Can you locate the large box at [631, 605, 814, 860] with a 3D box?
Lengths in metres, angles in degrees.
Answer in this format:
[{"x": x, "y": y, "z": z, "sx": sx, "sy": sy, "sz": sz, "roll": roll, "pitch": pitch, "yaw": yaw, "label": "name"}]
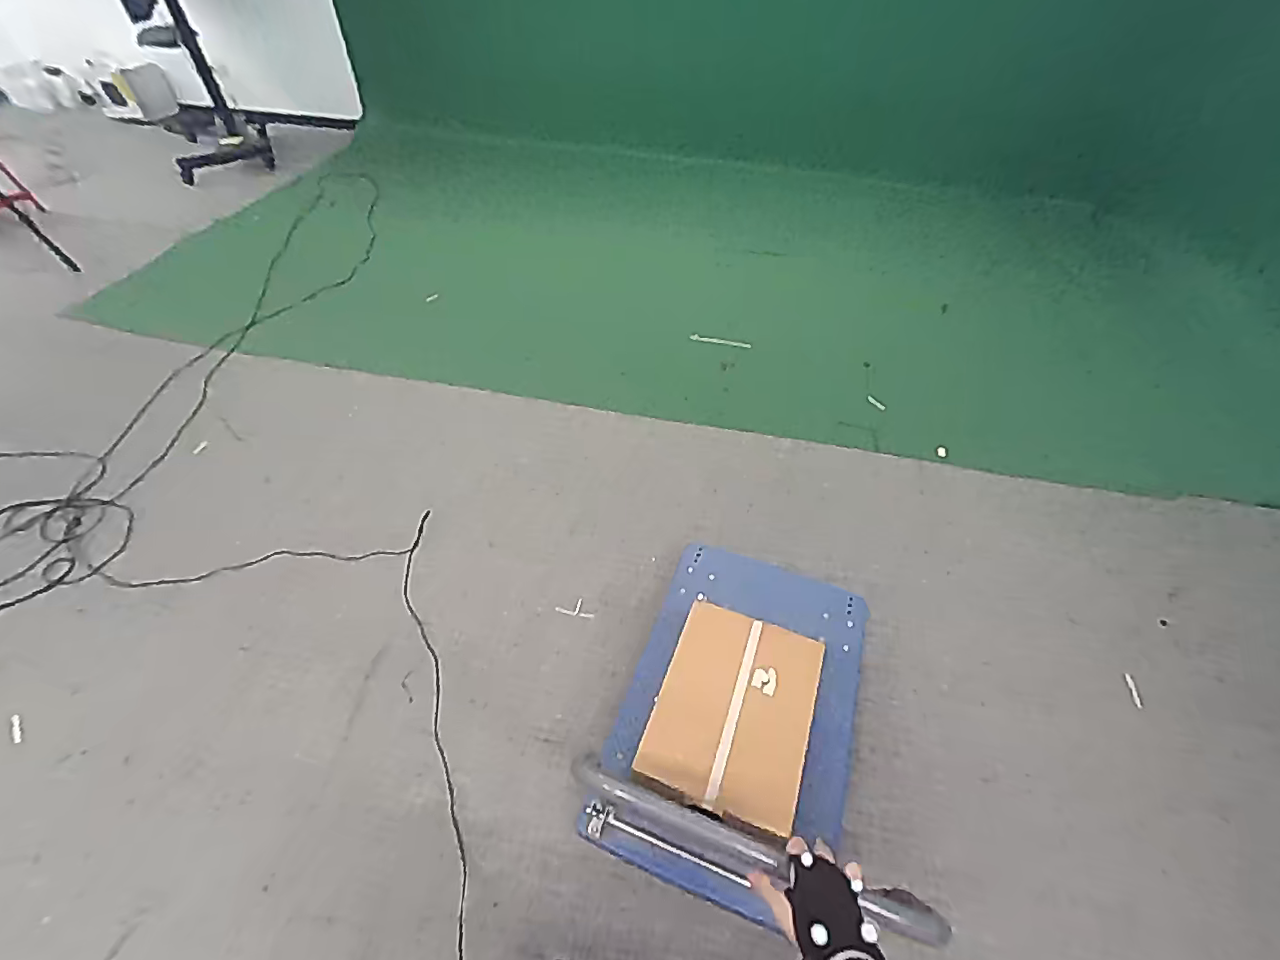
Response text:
[{"x": 0.188, "y": 0.579, "z": 1.260, "sx": 0.320, "sy": 0.320, "sz": 0.408, "roll": 18, "pitch": 49, "yaw": 13, "label": "large box"}]
